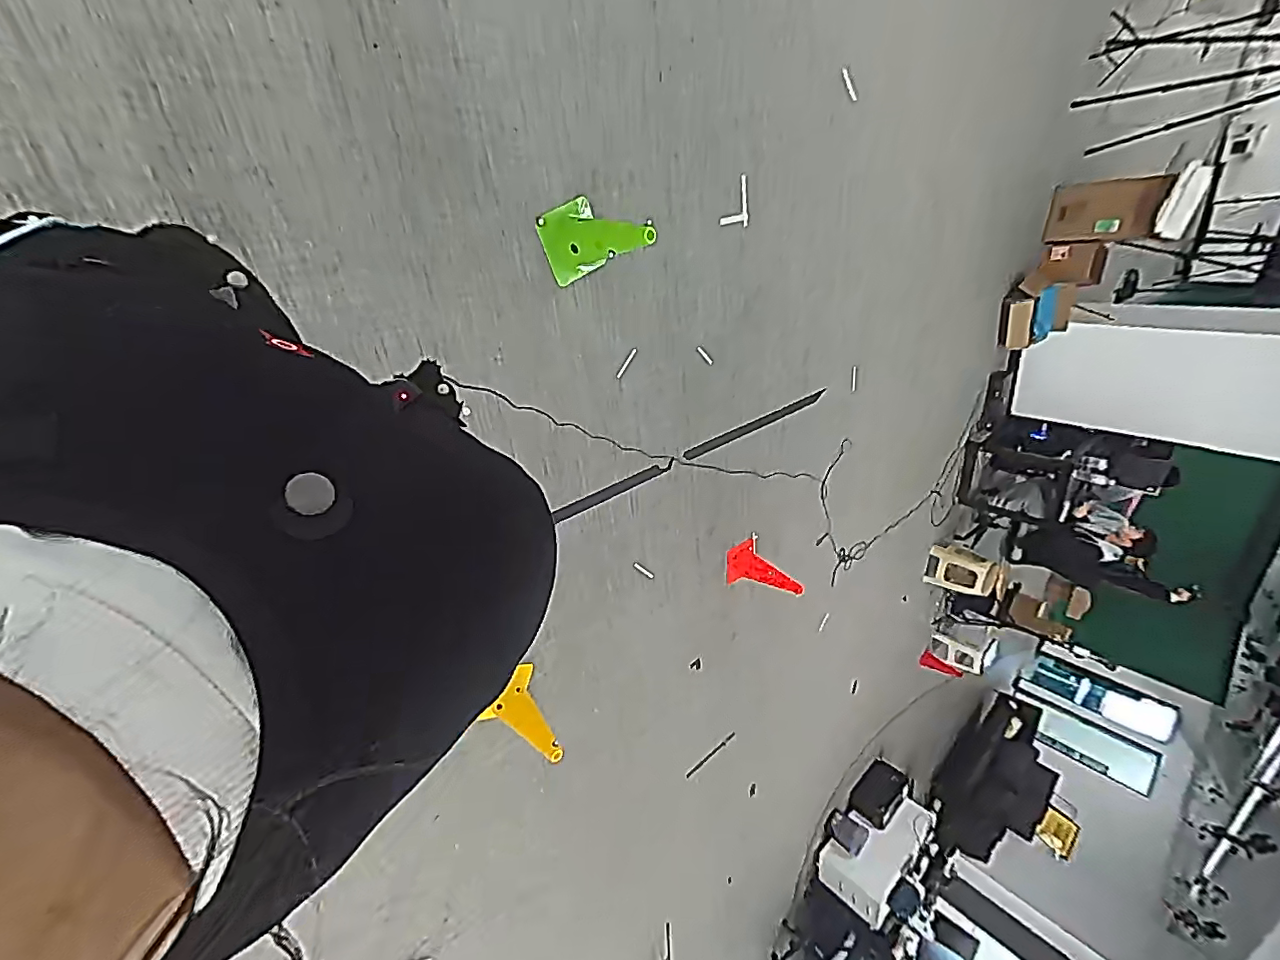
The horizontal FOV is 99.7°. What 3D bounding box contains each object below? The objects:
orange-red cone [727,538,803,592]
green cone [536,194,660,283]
[{"bbox_3d":[0.606,0.441,2.548,0.199,0.360,0.198,-17,117,-36],"label":"orange-red cone"},{"bbox_3d":[-0.086,-0.665,1.476,0.202,0.368,0.200,-41,130,-25],"label":"green cone"}]
